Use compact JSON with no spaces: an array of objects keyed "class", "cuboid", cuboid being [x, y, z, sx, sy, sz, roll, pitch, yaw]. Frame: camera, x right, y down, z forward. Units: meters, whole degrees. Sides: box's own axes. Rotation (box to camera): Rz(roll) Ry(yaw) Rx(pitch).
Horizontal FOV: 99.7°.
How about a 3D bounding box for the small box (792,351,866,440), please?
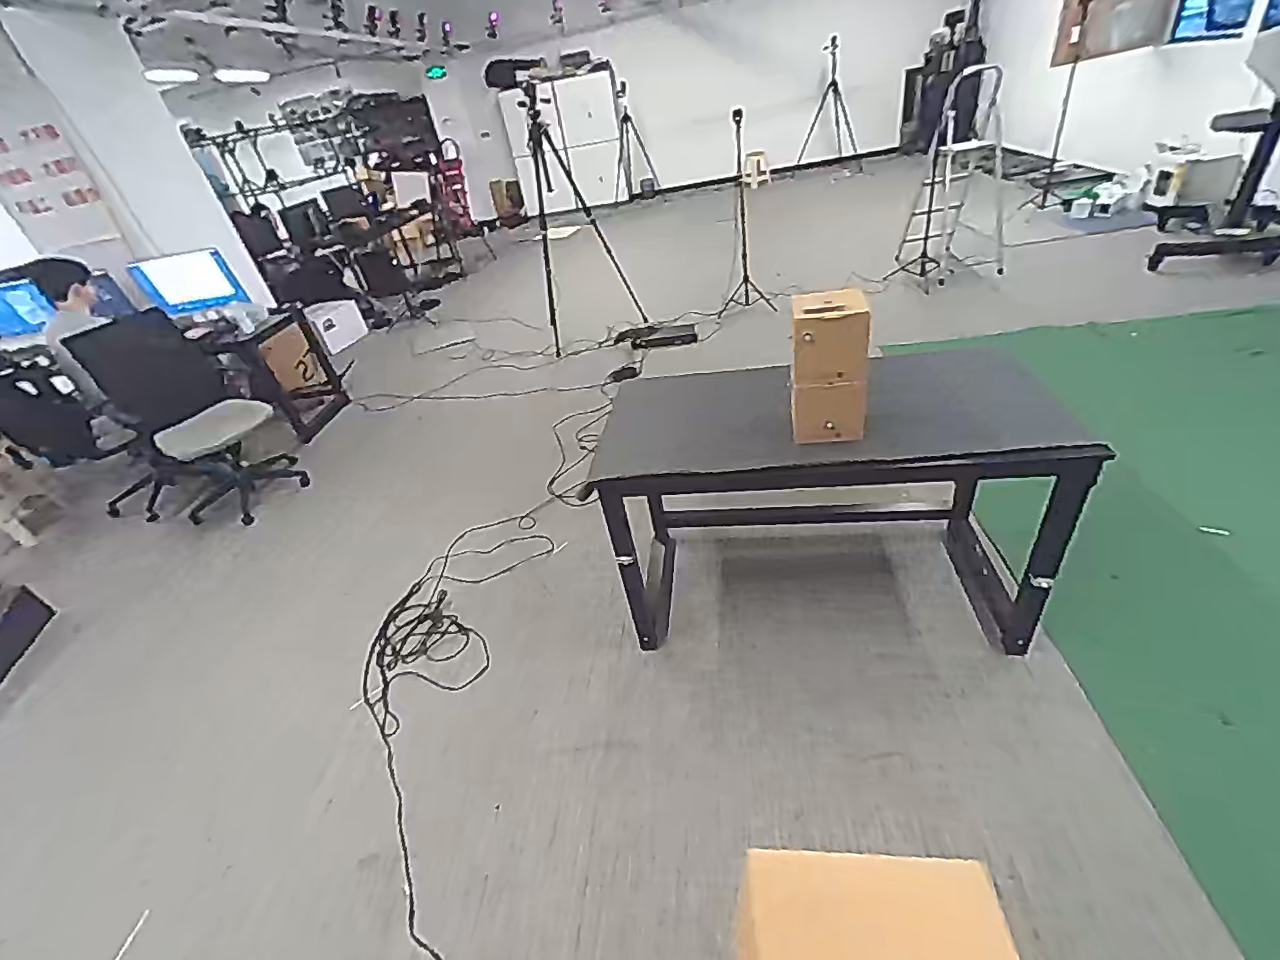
[{"class":"small box","cuboid":[0.486,-0.219,1.410,0.168,0.176,0.179,-3,36,14]}]
